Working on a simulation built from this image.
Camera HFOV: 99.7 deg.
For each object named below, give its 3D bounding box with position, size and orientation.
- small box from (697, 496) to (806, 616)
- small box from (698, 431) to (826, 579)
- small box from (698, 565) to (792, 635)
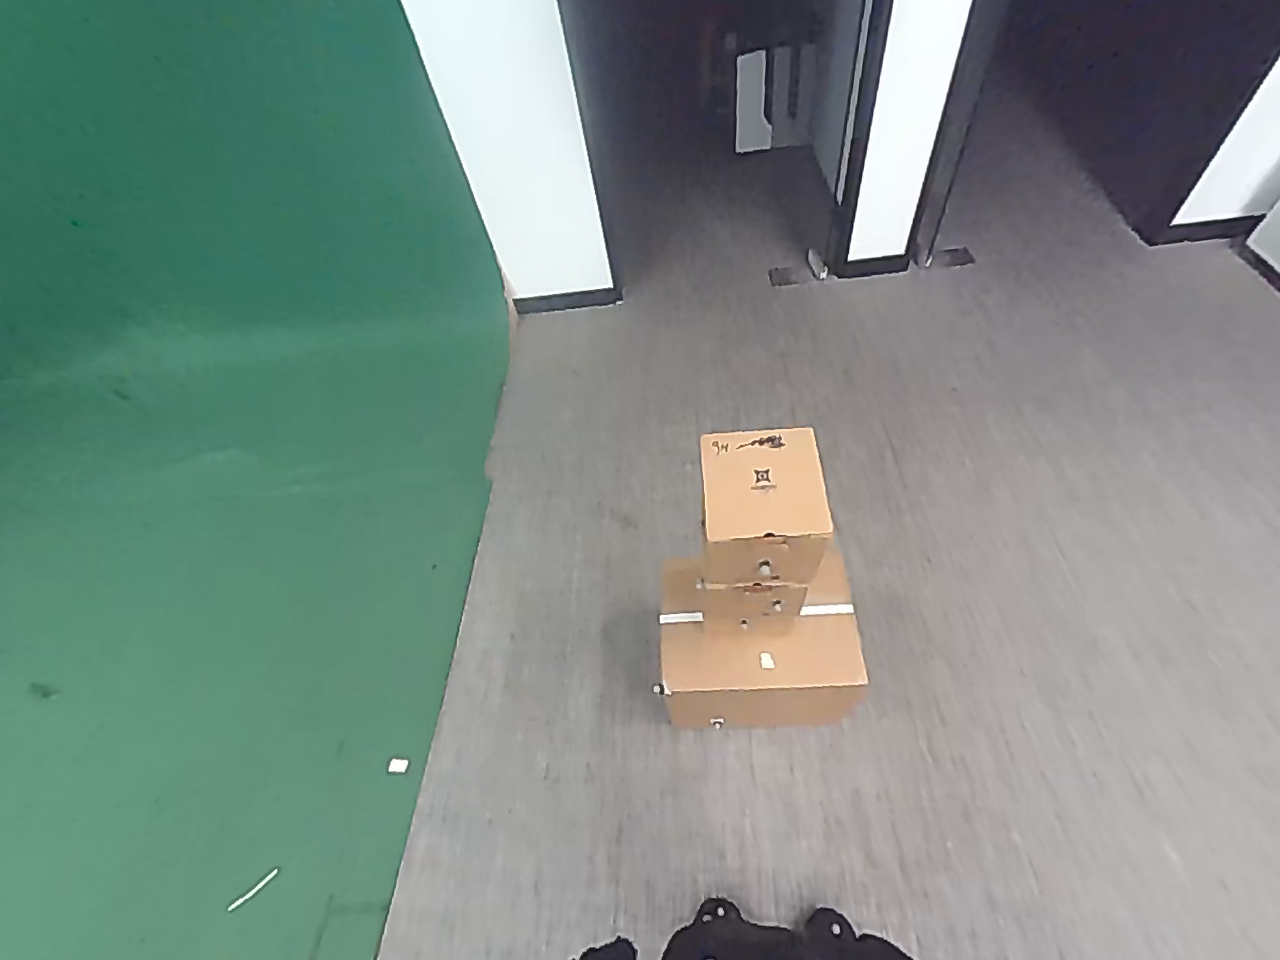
[{"bbox_3d":[0.190,0.138,0.962,0.168,0.176,0.179,-3,57,5],"label":"small box"},{"bbox_3d":[0.177,0.047,0.827,0.168,0.176,0.179,-3,59,6],"label":"small box"},{"bbox_3d":[0.213,0.210,1.103,0.179,0.176,0.168,2,58,10],"label":"small box"}]
